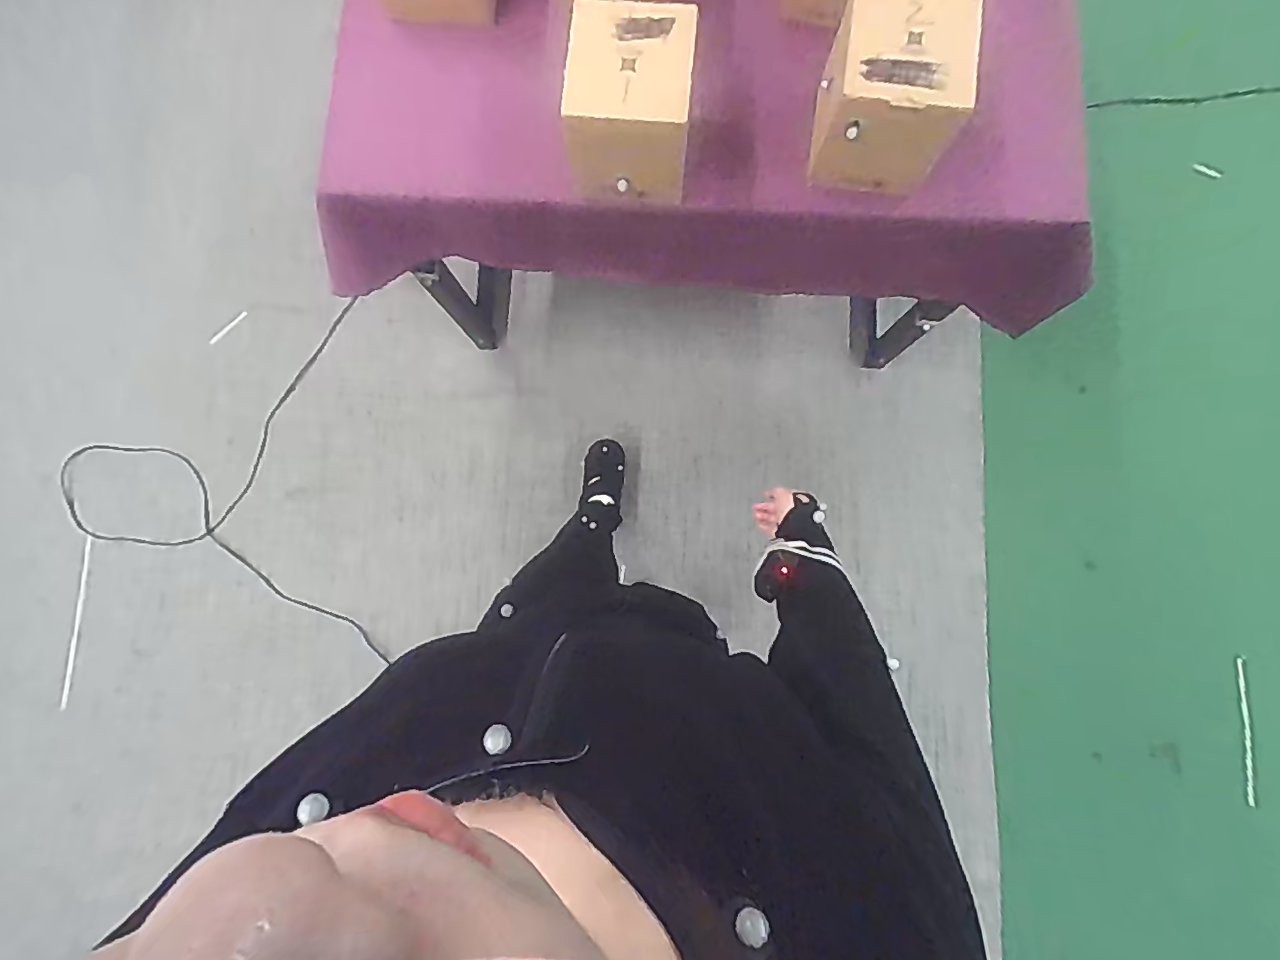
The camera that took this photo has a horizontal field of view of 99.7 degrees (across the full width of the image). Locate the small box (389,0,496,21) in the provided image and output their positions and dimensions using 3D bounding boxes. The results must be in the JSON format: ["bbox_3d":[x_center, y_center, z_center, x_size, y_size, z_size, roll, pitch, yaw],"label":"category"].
[{"bbox_3d":[-0.316,-0.849,0.824,0.179,0.176,0.168,5,83,2],"label":"small box"}]

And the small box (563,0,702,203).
[{"bbox_3d":[-0.008,-0.536,0.776,0.168,0.176,0.179,5,83,3],"label":"small box"}]
